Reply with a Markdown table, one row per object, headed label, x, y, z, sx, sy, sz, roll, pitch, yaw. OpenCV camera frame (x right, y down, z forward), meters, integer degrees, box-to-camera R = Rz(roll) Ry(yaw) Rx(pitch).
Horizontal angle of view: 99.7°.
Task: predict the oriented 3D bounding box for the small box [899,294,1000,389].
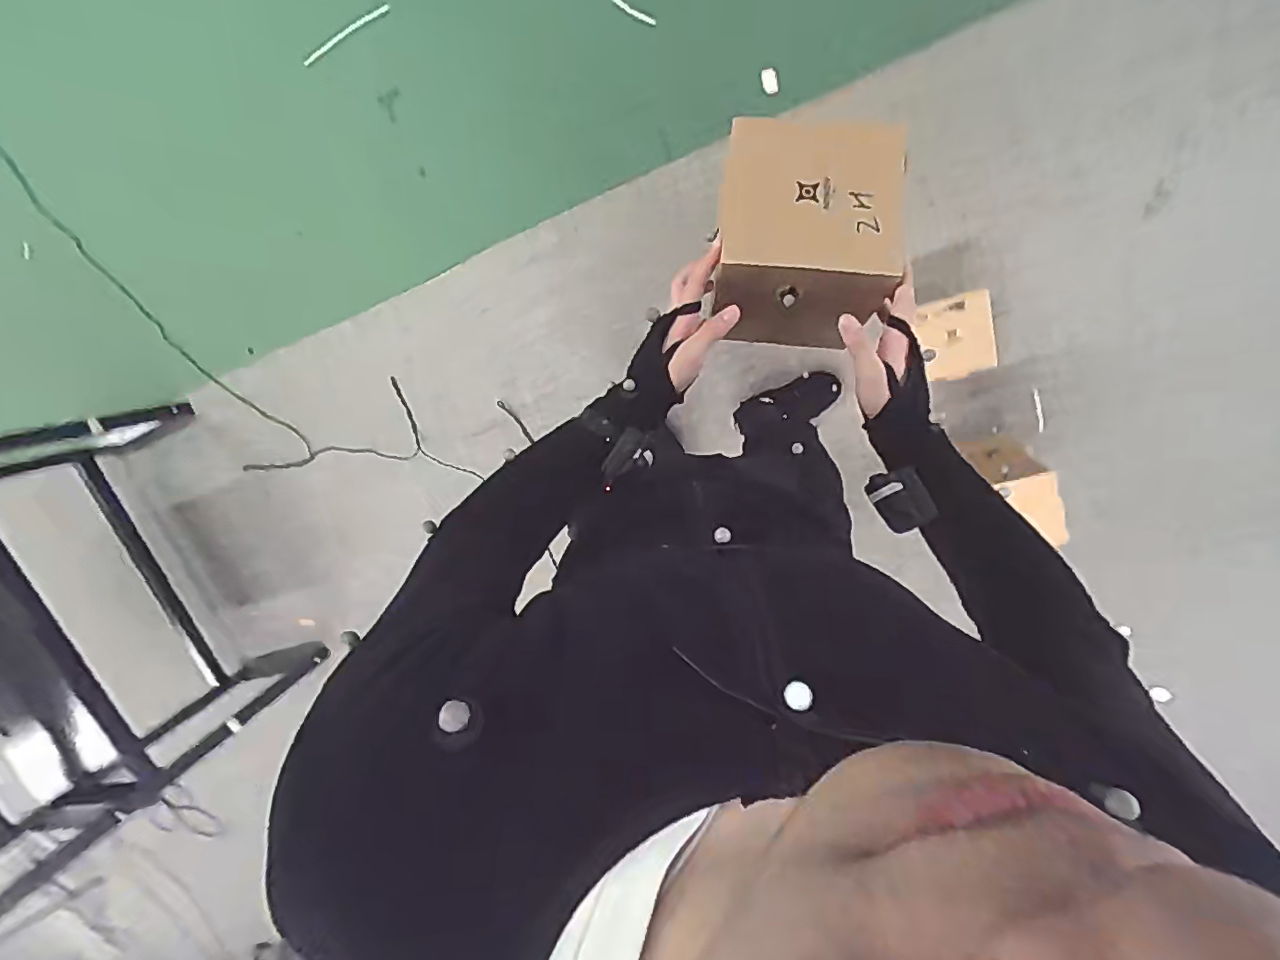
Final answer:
| label | x | y | z | sx | sy | sz | roll | pitch | yaw |
| --- | --- | --- | --- | --- | --- | --- | --- | --- | --- |
| small box | 0.725 | -0.332 | 1.280 | 0.168 | 0.176 | 0.179 | -12 | 105 | 19 |

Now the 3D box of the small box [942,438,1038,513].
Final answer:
| label | x | y | z | sx | sy | sz | roll | pitch | yaw |
| --- | --- | --- | --- | --- | --- | --- | --- | --- | --- |
| small box | 0.874 | 0.004 | 1.350 | 0.168 | 0.176 | 0.179 | -13 | 105 | 19 |

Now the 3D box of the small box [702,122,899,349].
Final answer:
| label | x | y | z | sx | sy | sz | roll | pitch | yaw |
| --- | --- | --- | --- | --- | --- | --- | --- | --- | --- |
| small box | 0.165 | -0.259 | 0.605 | 0.179 | 0.176 | 0.168 | 5 | 81 | 3 |
